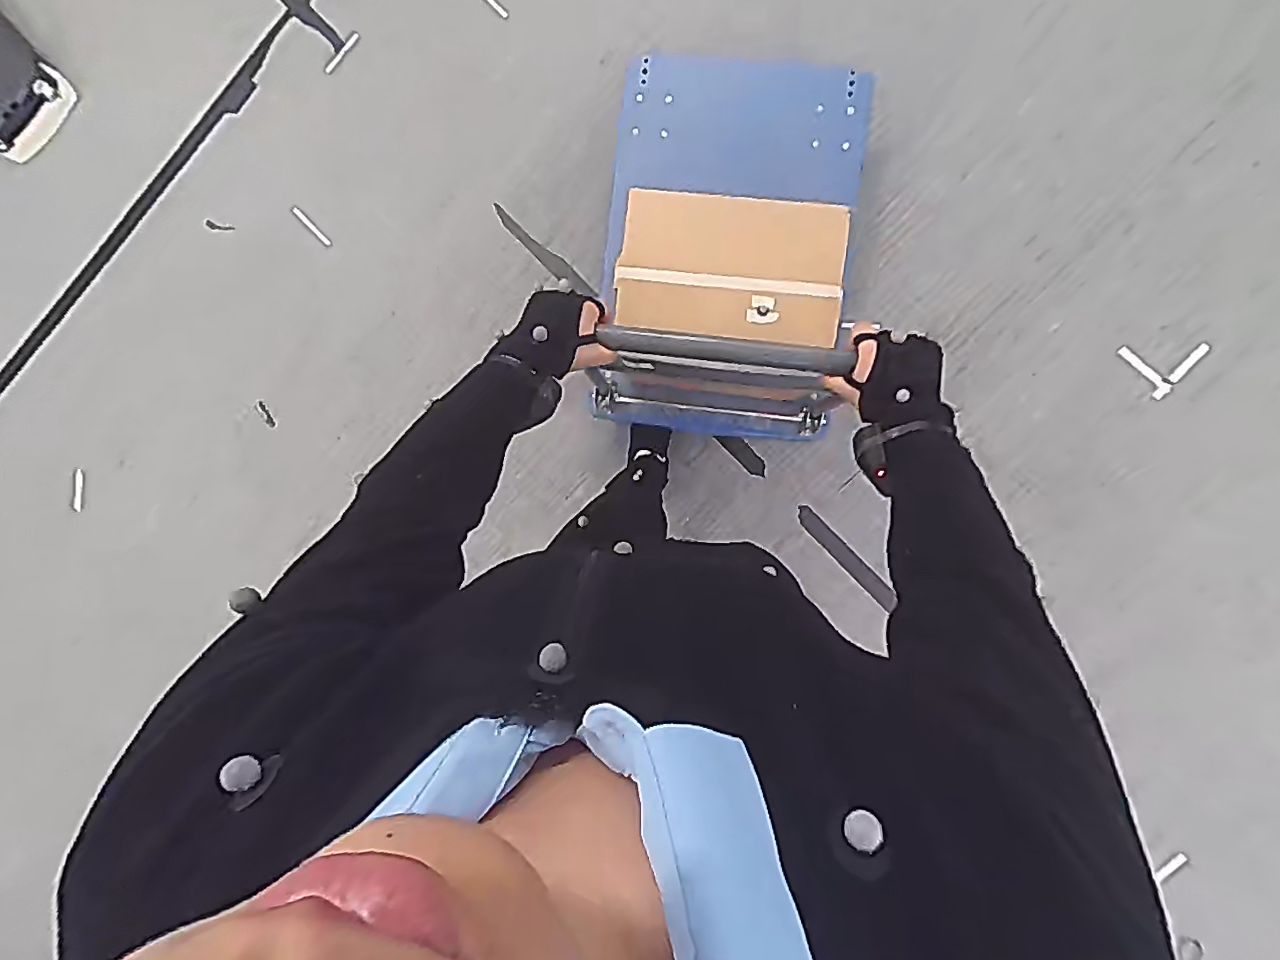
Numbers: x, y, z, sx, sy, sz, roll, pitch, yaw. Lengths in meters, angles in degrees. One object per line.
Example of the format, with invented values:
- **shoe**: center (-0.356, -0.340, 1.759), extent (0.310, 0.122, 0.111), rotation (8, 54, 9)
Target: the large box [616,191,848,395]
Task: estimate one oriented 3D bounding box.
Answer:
- **large box**: center (0.172, -0.367, 1.139), extent (0.408, 0.320, 0.320), rotation (6, 92, 3)
